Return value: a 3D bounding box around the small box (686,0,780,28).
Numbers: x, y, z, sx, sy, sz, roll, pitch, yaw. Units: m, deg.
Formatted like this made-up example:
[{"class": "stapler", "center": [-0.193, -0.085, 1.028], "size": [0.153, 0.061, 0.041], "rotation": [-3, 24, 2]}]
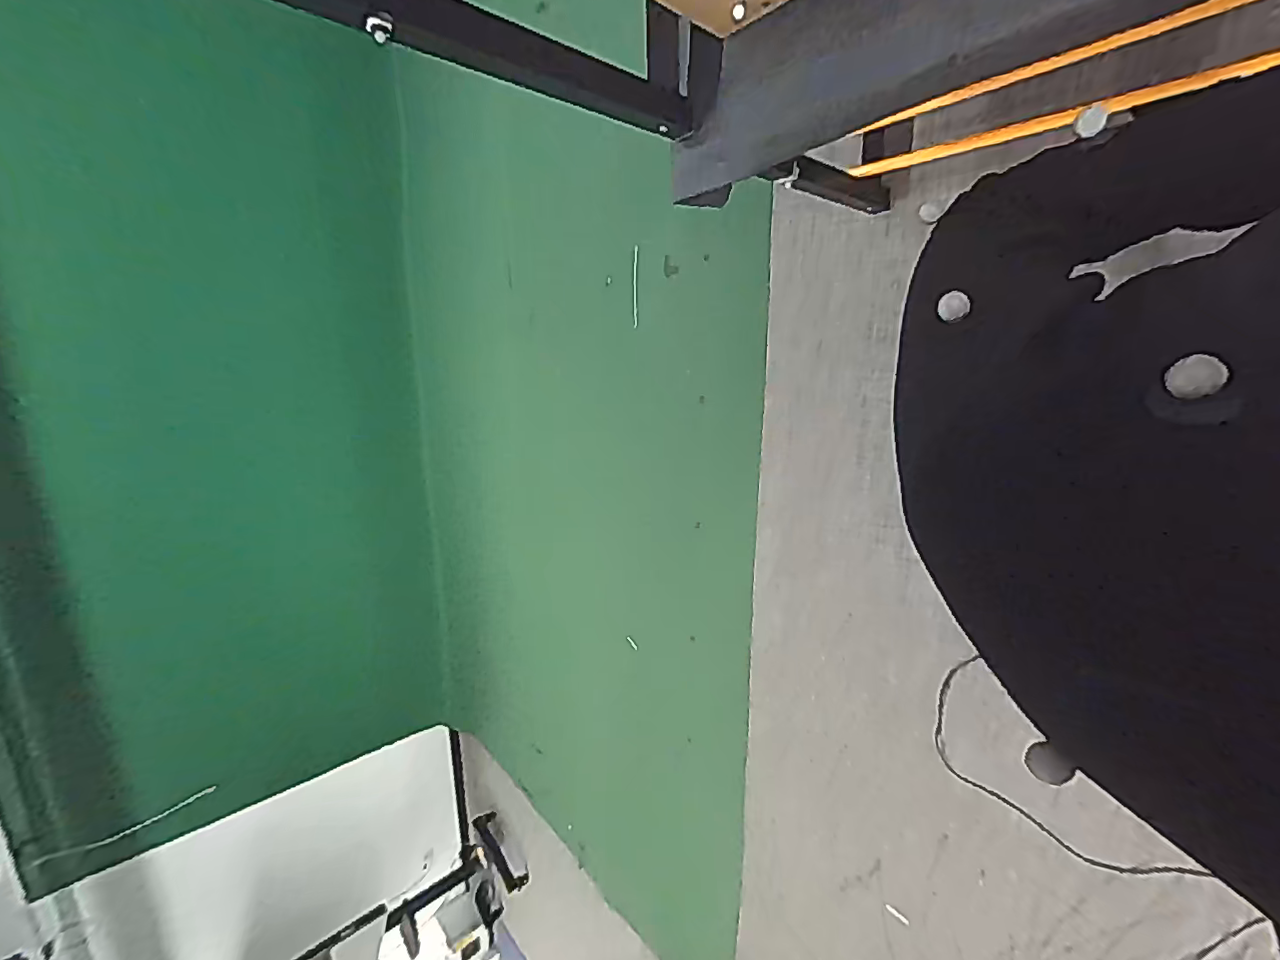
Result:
[{"class": "small box", "center": [0.130, -0.798, 0.761], "size": [0.168, 0.176, 0.179], "rotation": [13, 109, 47]}]
